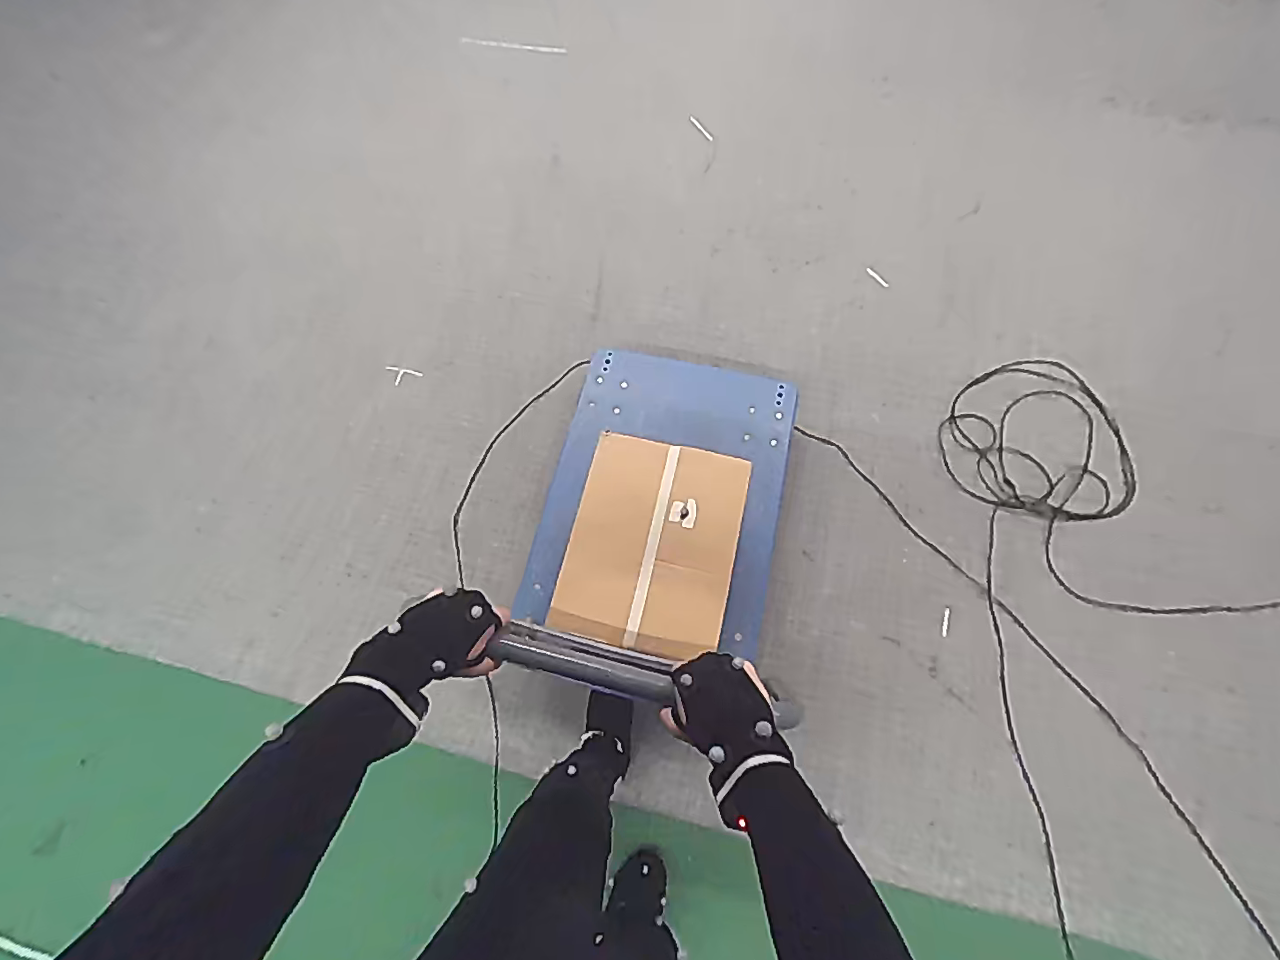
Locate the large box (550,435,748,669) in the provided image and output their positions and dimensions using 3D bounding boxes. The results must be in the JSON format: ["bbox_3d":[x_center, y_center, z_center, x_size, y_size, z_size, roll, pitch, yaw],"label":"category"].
[{"bbox_3d":[0.031,0.170,1.172,0.320,0.320,0.408,13,70,6],"label":"large box"}]
